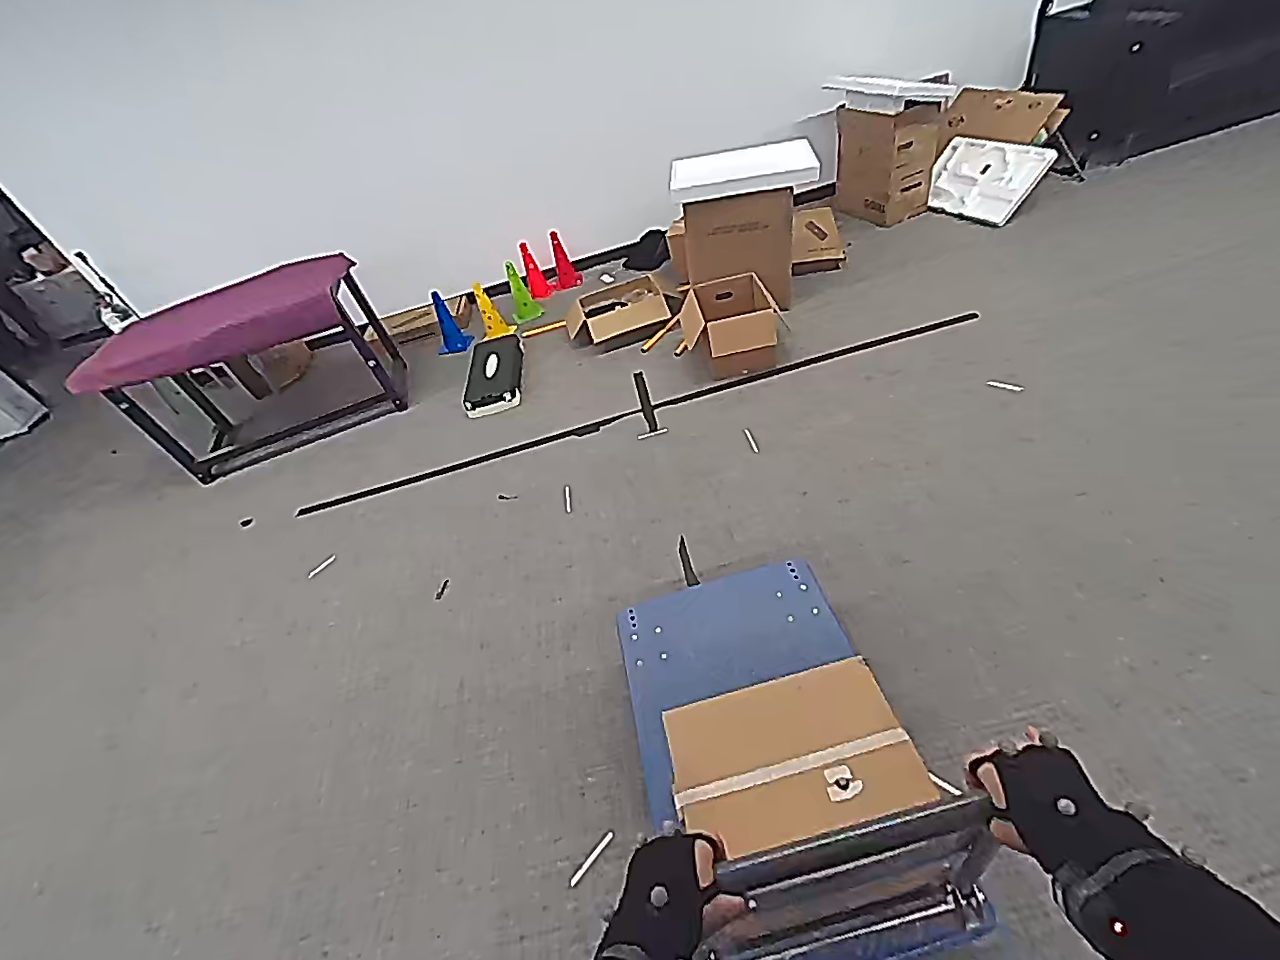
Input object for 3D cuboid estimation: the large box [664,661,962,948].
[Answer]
[{"bbox_3d":[0.291,0.601,1.006,0.408,0.320,0.320,-16,42,0],"label":"large box"}]
